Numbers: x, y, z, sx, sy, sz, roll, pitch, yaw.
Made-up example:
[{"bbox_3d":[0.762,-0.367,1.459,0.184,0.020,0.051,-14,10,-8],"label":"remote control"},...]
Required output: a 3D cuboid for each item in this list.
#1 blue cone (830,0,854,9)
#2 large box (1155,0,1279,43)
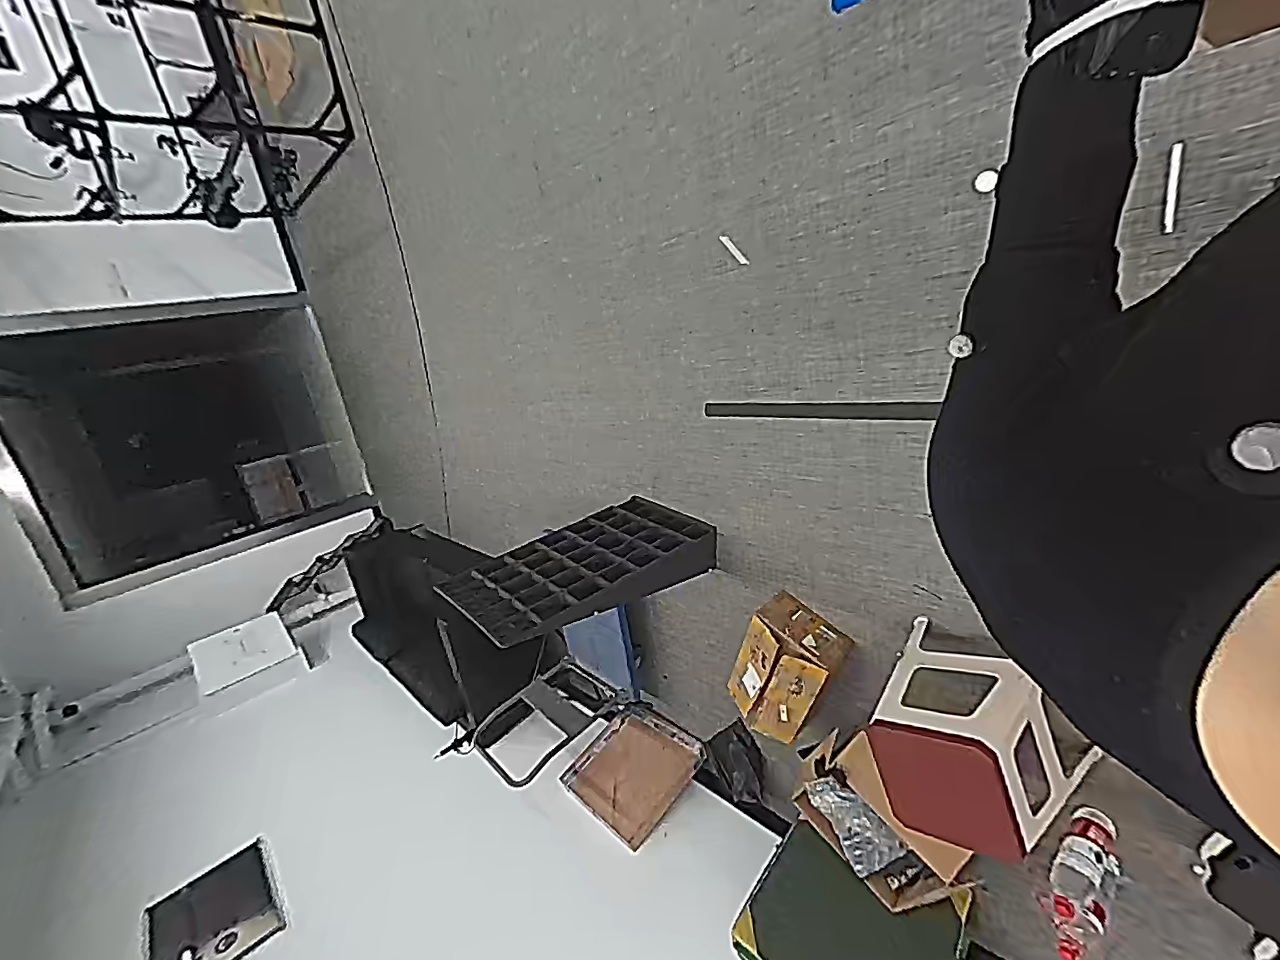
[{"bbox_3d":[0.390,-1.160,1.119,0.192,0.380,0.193,14,118,47],"label":"blue cone"},{"bbox_3d":[0.536,-0.488,0.246,0.408,0.320,0.320,11,120,49],"label":"large box"}]
